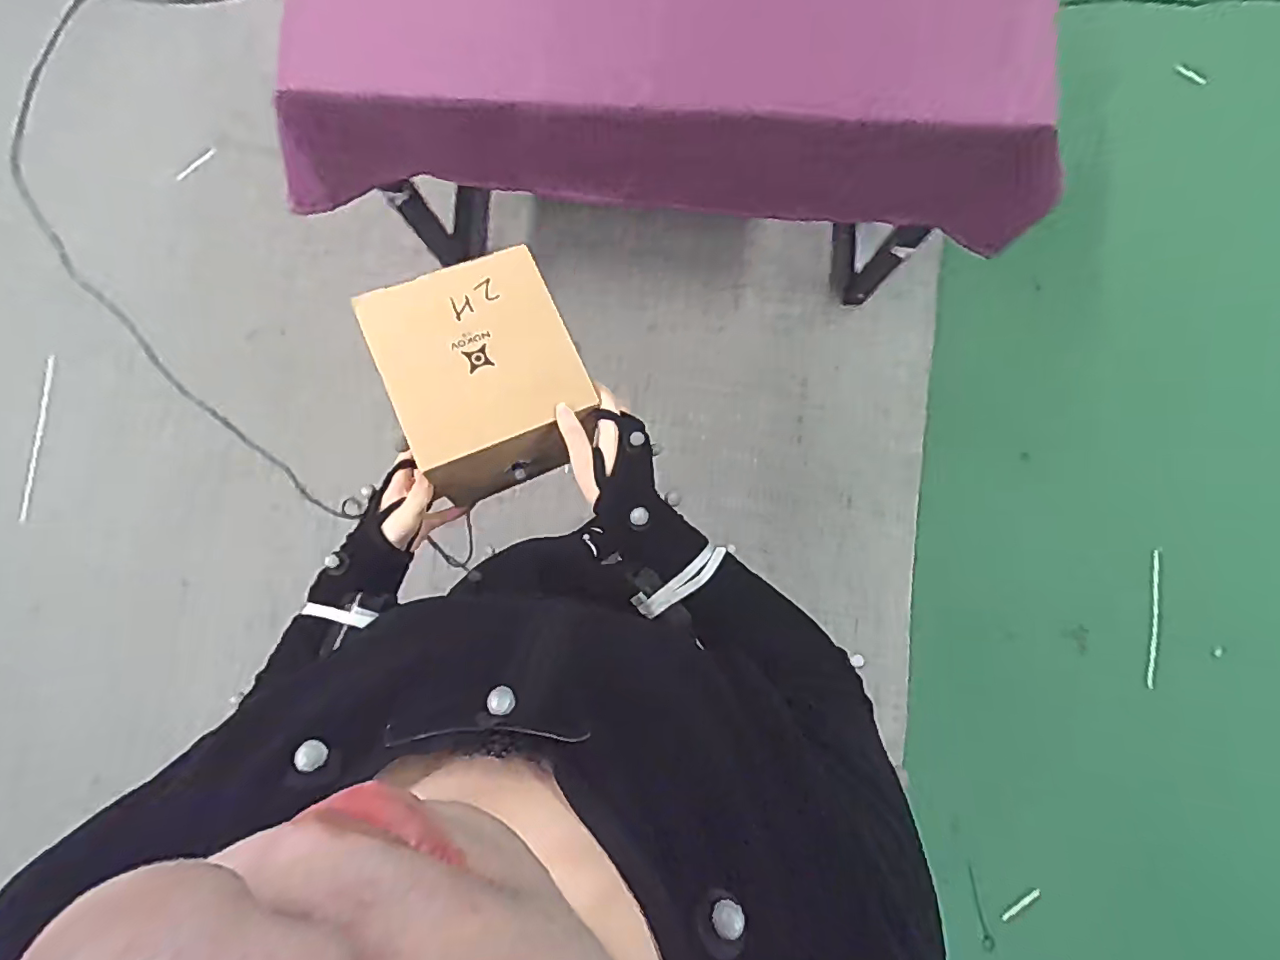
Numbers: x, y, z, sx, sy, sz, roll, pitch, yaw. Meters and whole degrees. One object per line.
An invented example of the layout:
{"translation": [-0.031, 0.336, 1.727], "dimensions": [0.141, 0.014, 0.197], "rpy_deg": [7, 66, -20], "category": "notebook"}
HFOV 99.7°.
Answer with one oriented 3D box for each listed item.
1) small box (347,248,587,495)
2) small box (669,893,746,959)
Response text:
{"translation": [-0.163, -0.096, 0.560], "dimensions": [0.168, 0.176, 0.179], "rpy_deg": [-24, 80, -13], "category": "small box"}
{"translation": [0.161, 1.182, 1.351], "dimensions": [0.168, 0.176, 0.179], "rpy_deg": [6, 87, 2], "category": "small box"}
